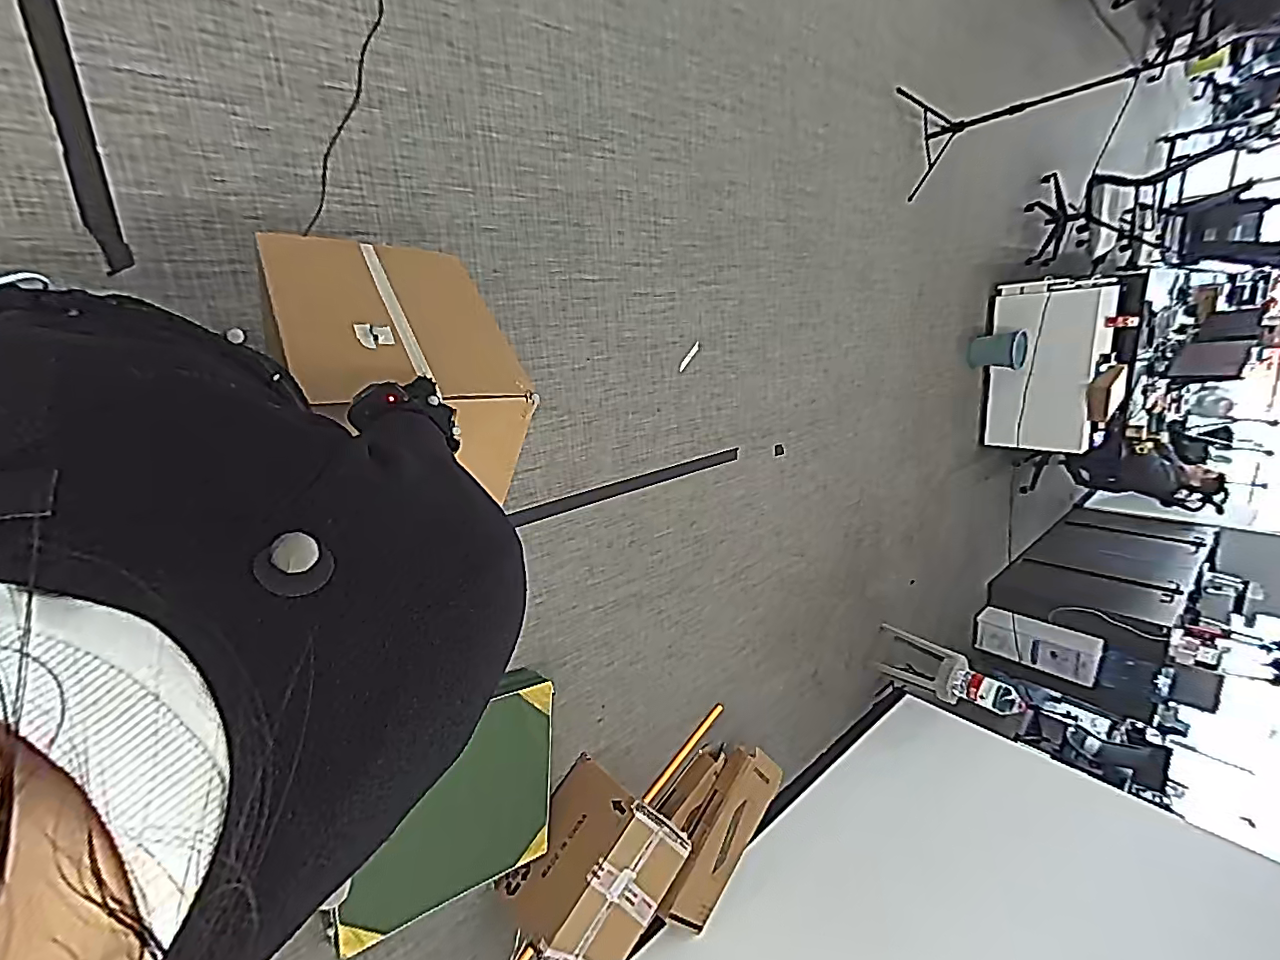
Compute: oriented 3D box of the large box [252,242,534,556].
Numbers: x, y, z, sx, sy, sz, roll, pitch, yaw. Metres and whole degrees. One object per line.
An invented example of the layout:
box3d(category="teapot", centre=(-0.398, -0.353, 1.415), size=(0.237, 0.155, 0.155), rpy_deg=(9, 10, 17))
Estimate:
box3d(category="large box", centre=(-0.436, -0.141, 0.924), size=(0.320, 0.408, 0.320), rpy_deg=(-10, 144, -36))
